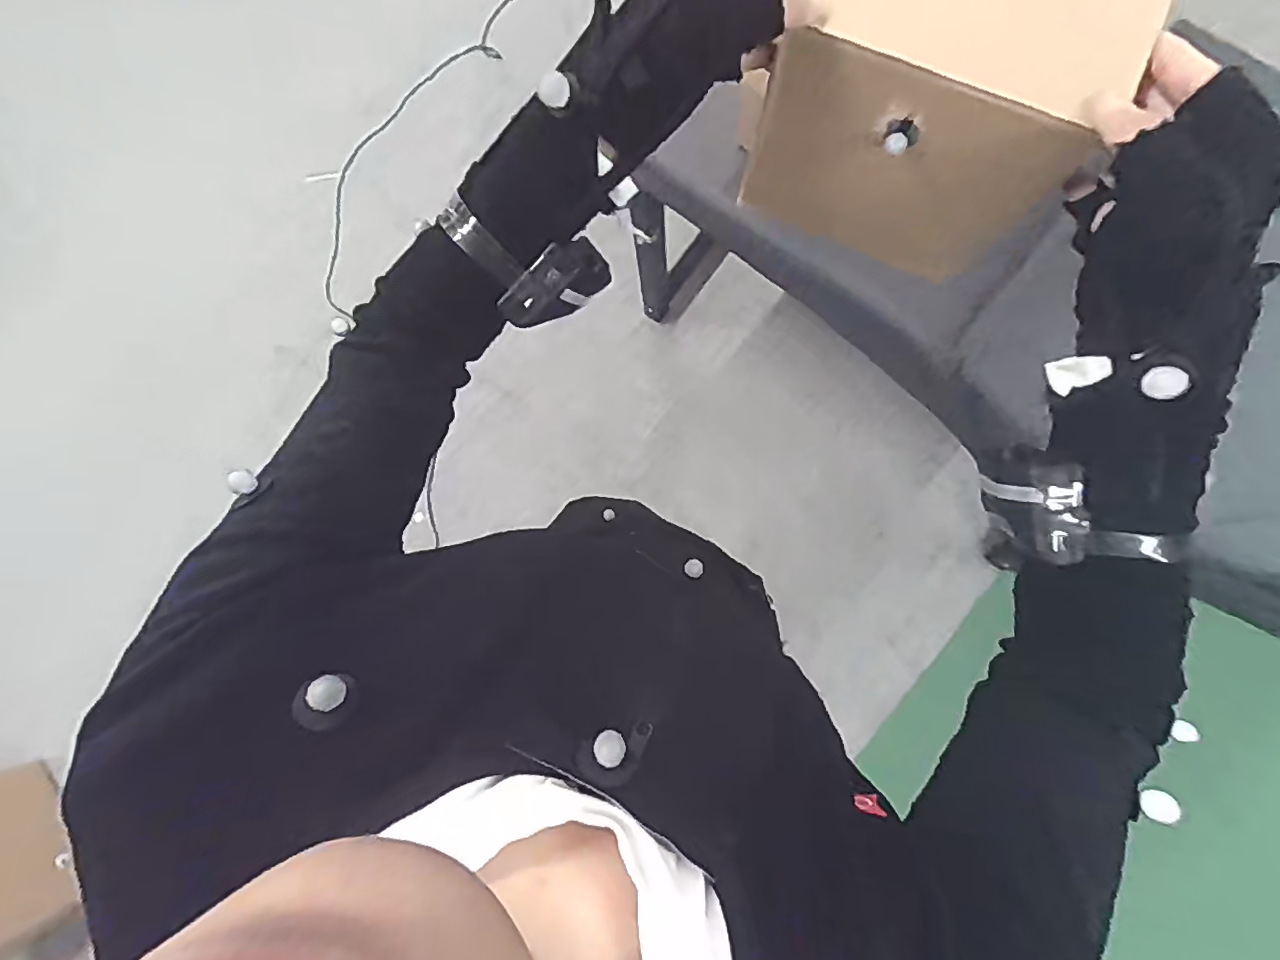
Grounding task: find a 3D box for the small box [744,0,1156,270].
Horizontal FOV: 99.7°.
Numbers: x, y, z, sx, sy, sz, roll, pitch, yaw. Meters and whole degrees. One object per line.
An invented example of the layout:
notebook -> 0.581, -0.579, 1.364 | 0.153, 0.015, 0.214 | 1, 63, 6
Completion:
small box -> 0.185, -0.270, 0.358 | 0.179, 0.176, 0.168 | 24, 87, 3
